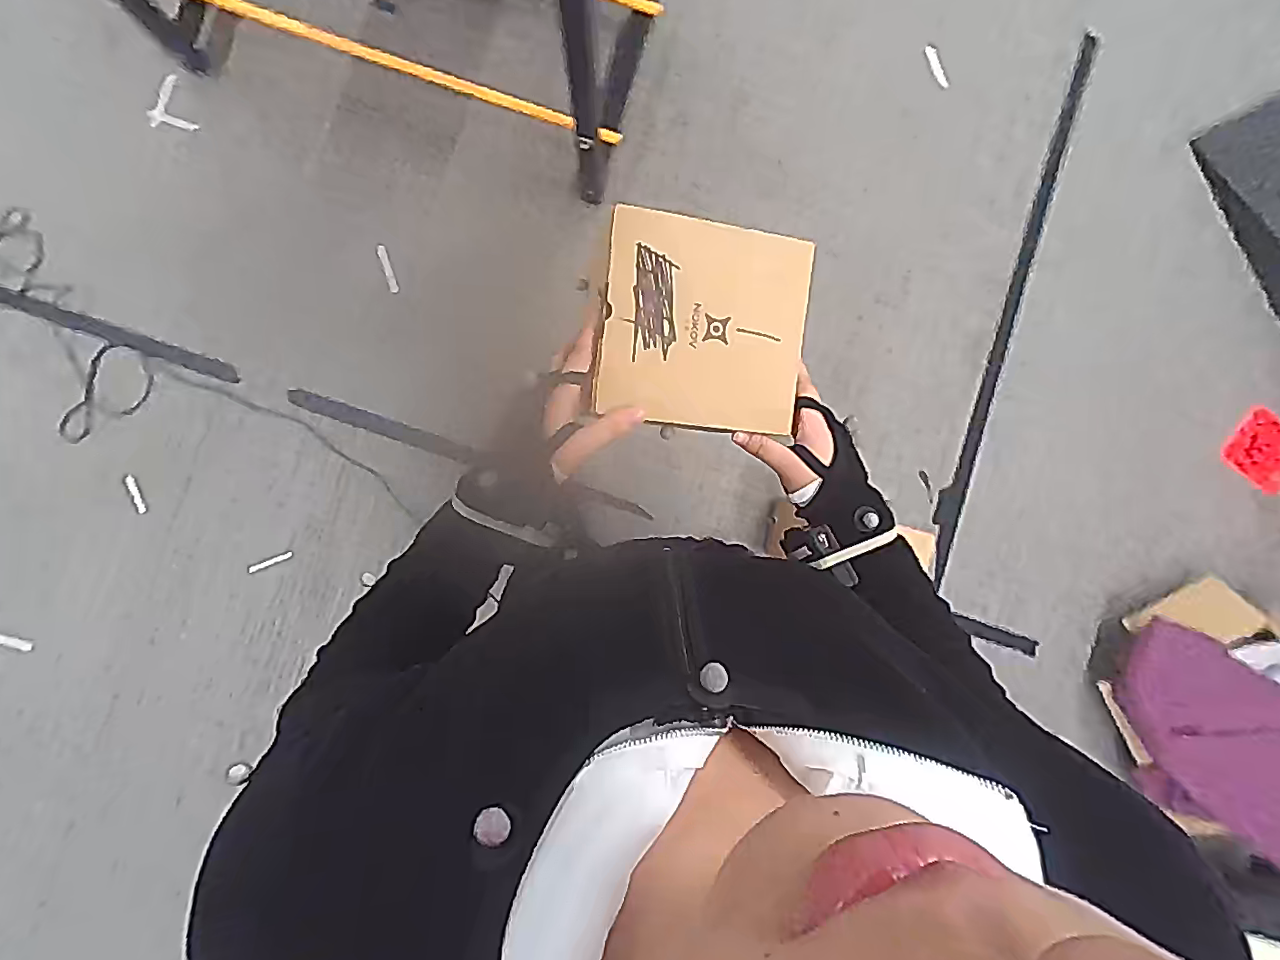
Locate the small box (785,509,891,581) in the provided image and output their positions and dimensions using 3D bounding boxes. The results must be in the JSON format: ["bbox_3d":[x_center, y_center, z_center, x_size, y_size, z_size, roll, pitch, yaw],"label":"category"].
[{"bbox_3d":[0.456,0.164,1.272,0.179,0.176,0.168,11,88,-1],"label":"small box"}]

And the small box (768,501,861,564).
[{"bbox_3d":[0.457,0.151,1.436,0.179,0.176,0.168,12,87,0],"label":"small box"}]

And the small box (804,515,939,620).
[{"bbox_3d":[0.464,0.169,1.106,0.179,0.176,0.168,16,87,-1],"label":"small box"}]

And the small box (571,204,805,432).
[{"bbox_3d":[0.030,-0.136,0.519,0.179,0.176,0.168,4,95,-13],"label":"small box"}]
